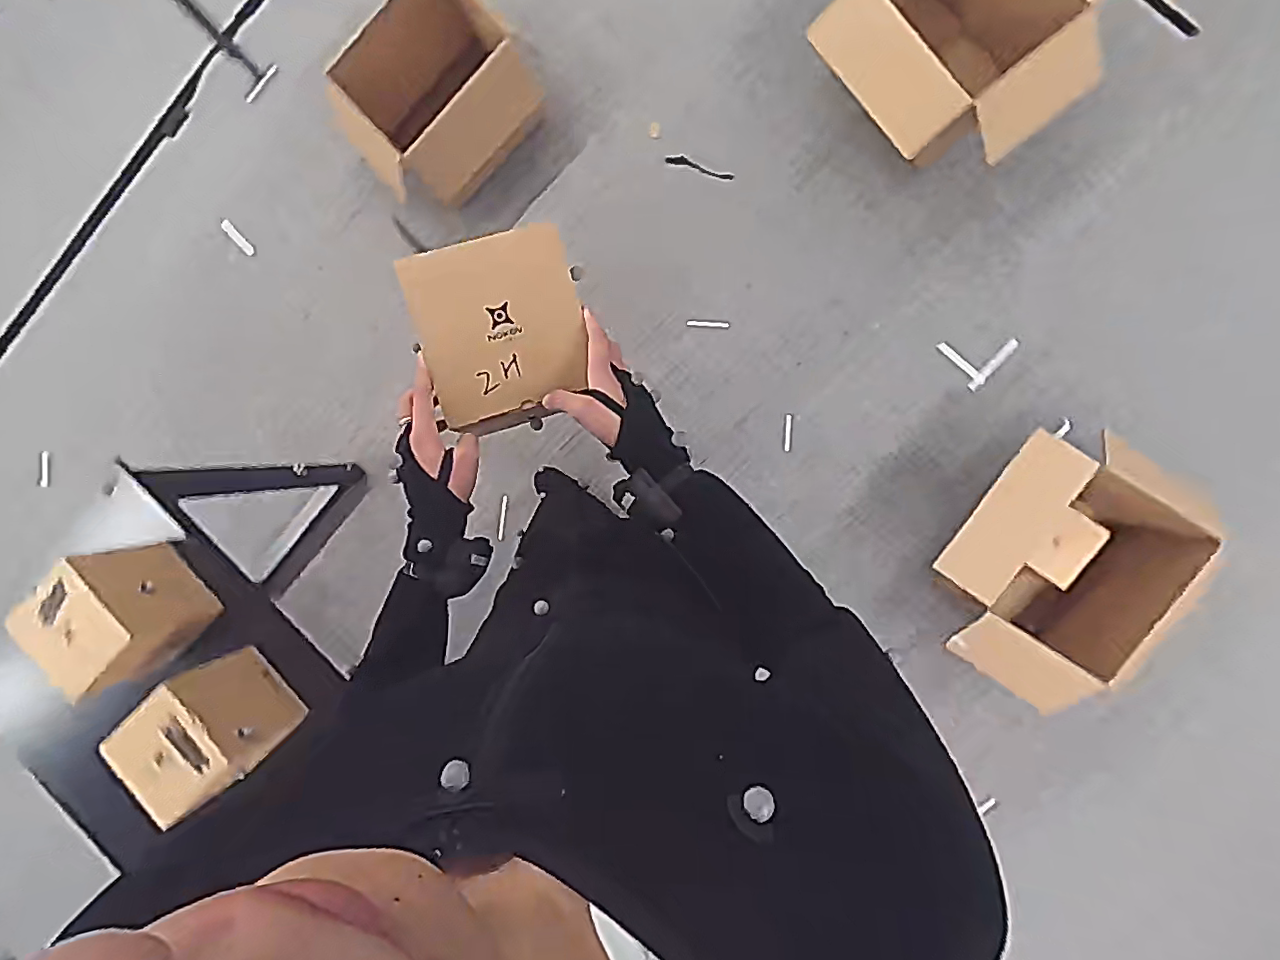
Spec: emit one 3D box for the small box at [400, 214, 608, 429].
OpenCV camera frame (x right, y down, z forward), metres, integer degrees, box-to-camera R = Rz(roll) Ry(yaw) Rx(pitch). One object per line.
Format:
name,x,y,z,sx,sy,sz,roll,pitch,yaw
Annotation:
small box,-0.143,-0.165,0.614,0.168,0.176,0.179,-17,95,-6

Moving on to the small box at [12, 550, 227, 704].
small box,-0.885,0.239,0.935,0.168,0.176,0.179,-44,88,8
